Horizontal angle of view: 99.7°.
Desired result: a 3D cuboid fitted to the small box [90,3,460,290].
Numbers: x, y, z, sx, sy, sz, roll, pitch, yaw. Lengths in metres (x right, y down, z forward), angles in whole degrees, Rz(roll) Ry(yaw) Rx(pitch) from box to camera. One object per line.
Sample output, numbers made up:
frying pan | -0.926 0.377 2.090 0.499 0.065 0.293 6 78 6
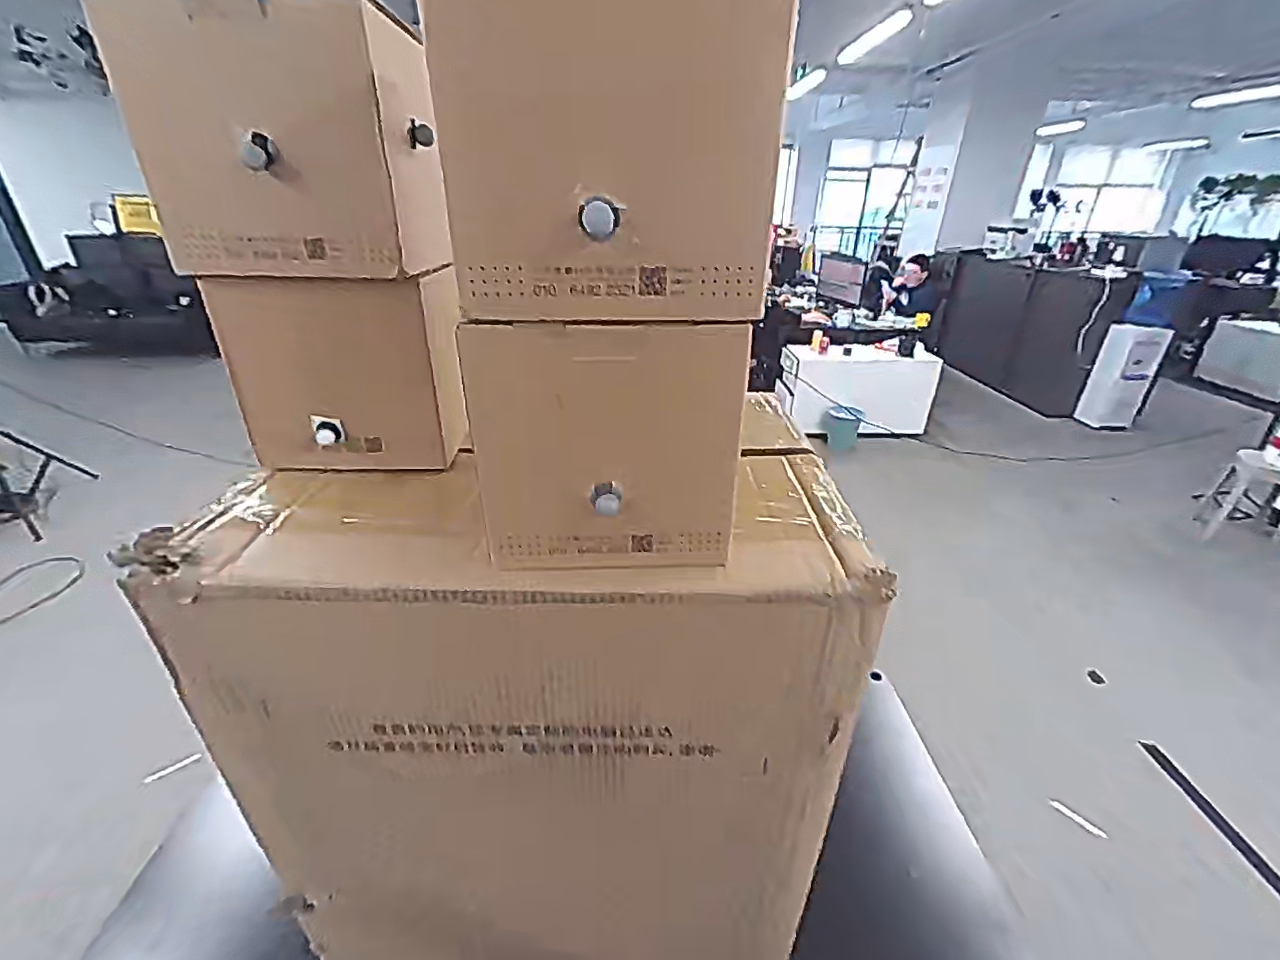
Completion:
small box | -0.255 -0.252 0.438 0.168 0.176 0.179 -1 27 -3

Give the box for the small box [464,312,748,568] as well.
small box | -0.021 -0.051 0.414 0.168 0.176 0.179 -2 28 -2

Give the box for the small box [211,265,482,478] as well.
small box | -0.255 -0.113 0.526 0.168 0.176 0.179 -2 28 -4

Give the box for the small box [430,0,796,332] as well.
small box | -0.016 -0.195 0.334 0.168 0.176 0.179 -1 28 -1
